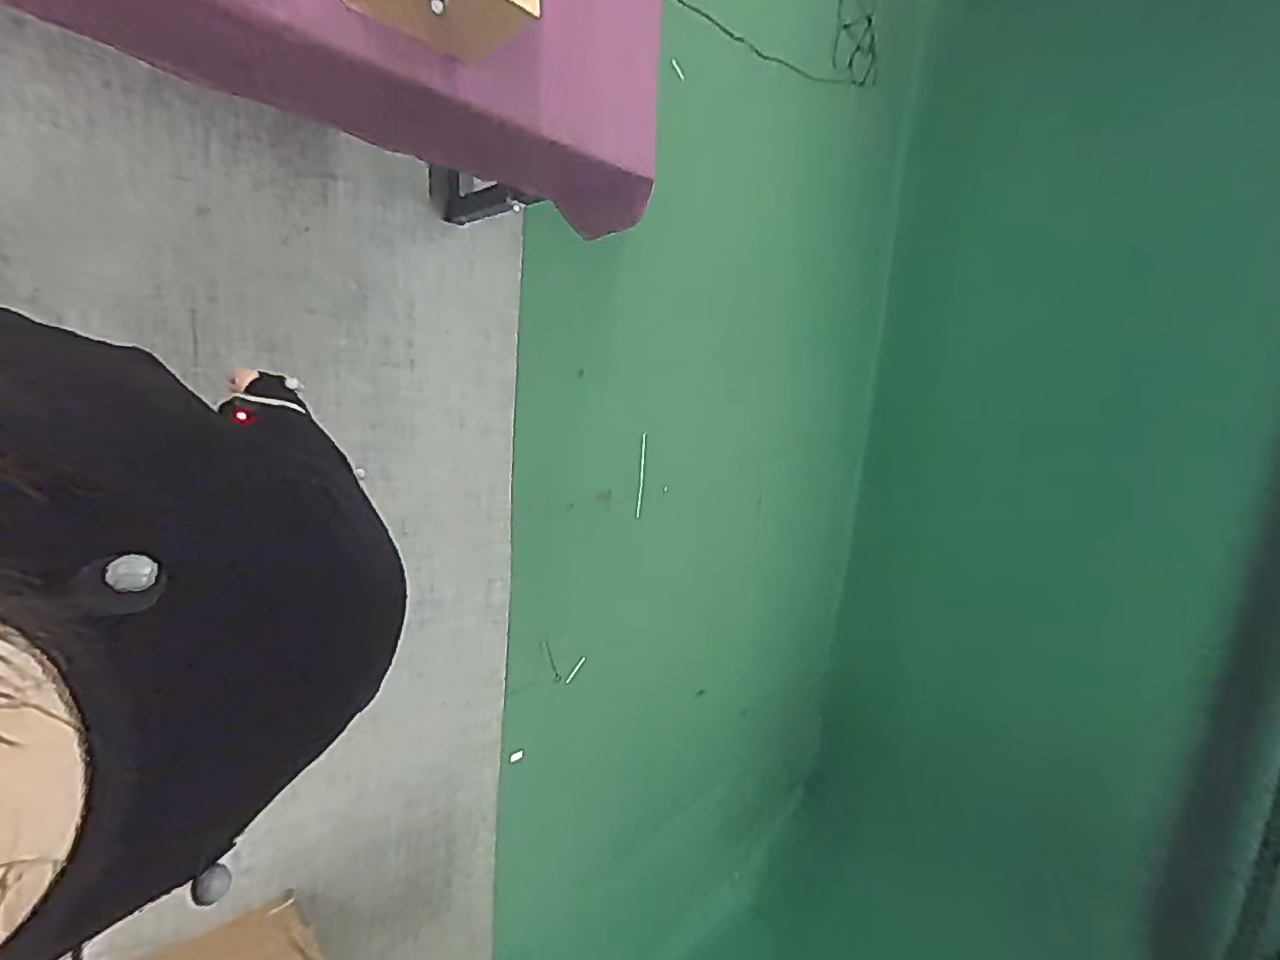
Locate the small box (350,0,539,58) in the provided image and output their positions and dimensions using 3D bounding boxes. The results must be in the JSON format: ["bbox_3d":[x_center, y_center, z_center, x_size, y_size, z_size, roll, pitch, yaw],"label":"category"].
[{"bbox_3d":[-0.242,-0.654,0.649,0.179,0.176,0.168,-11,107,-45],"label":"small box"}]
